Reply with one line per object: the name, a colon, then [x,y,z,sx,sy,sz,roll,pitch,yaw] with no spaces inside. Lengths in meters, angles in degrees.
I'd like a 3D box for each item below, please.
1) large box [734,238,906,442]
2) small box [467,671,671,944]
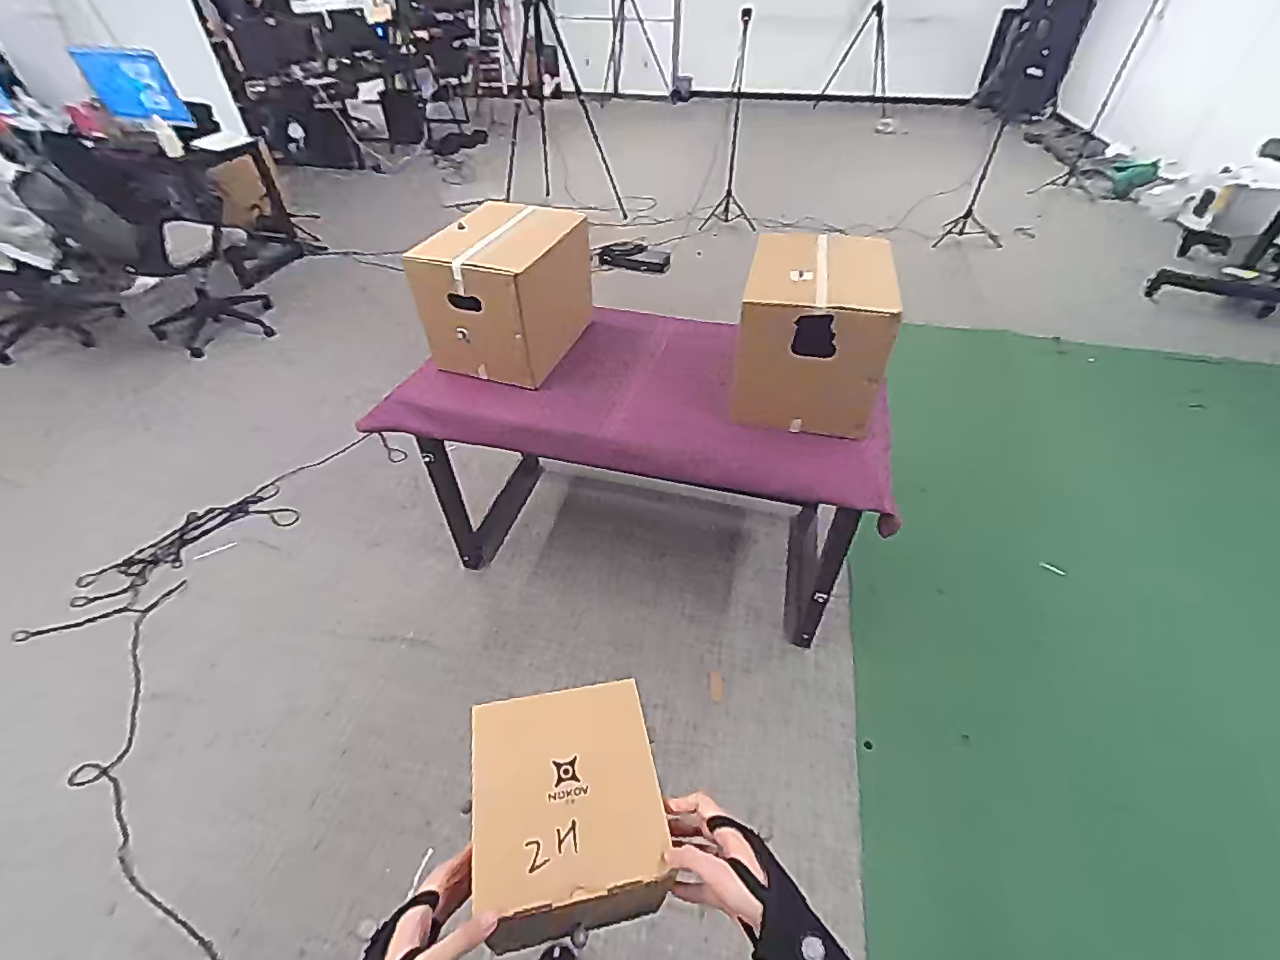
large box: [0.412,-0.346,1.301,0.320,0.320,0.408,8,45,12]
small box: [-0.078,0.323,0.543,0.168,0.176,0.179,-5,43,-12]
